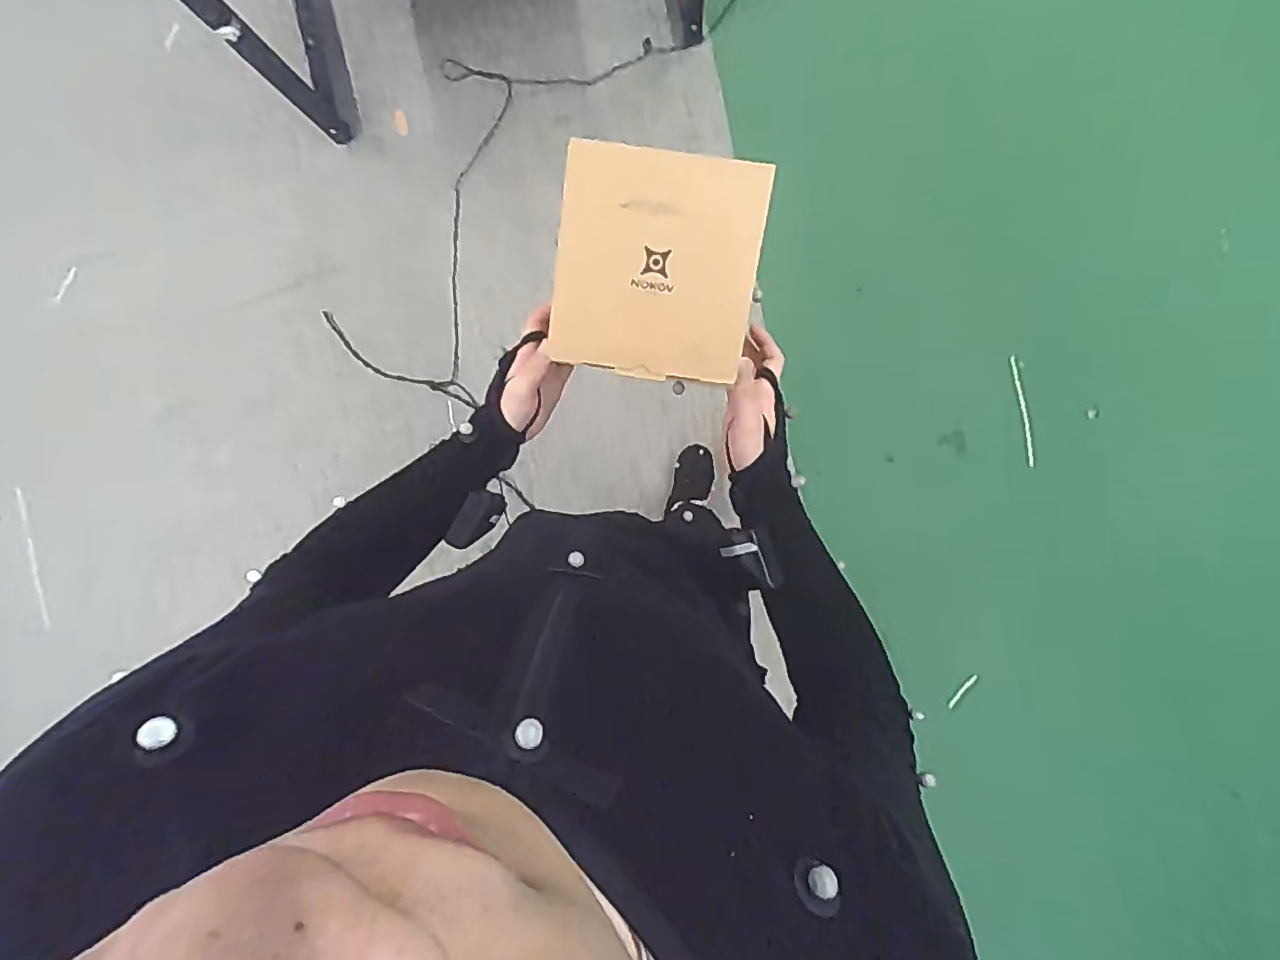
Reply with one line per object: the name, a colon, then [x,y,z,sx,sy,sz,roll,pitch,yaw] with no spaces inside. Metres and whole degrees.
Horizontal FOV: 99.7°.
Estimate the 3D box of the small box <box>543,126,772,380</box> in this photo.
small box: [0.015,-0.196,0.514,0.168,0.176,0.179,9,102,1]
